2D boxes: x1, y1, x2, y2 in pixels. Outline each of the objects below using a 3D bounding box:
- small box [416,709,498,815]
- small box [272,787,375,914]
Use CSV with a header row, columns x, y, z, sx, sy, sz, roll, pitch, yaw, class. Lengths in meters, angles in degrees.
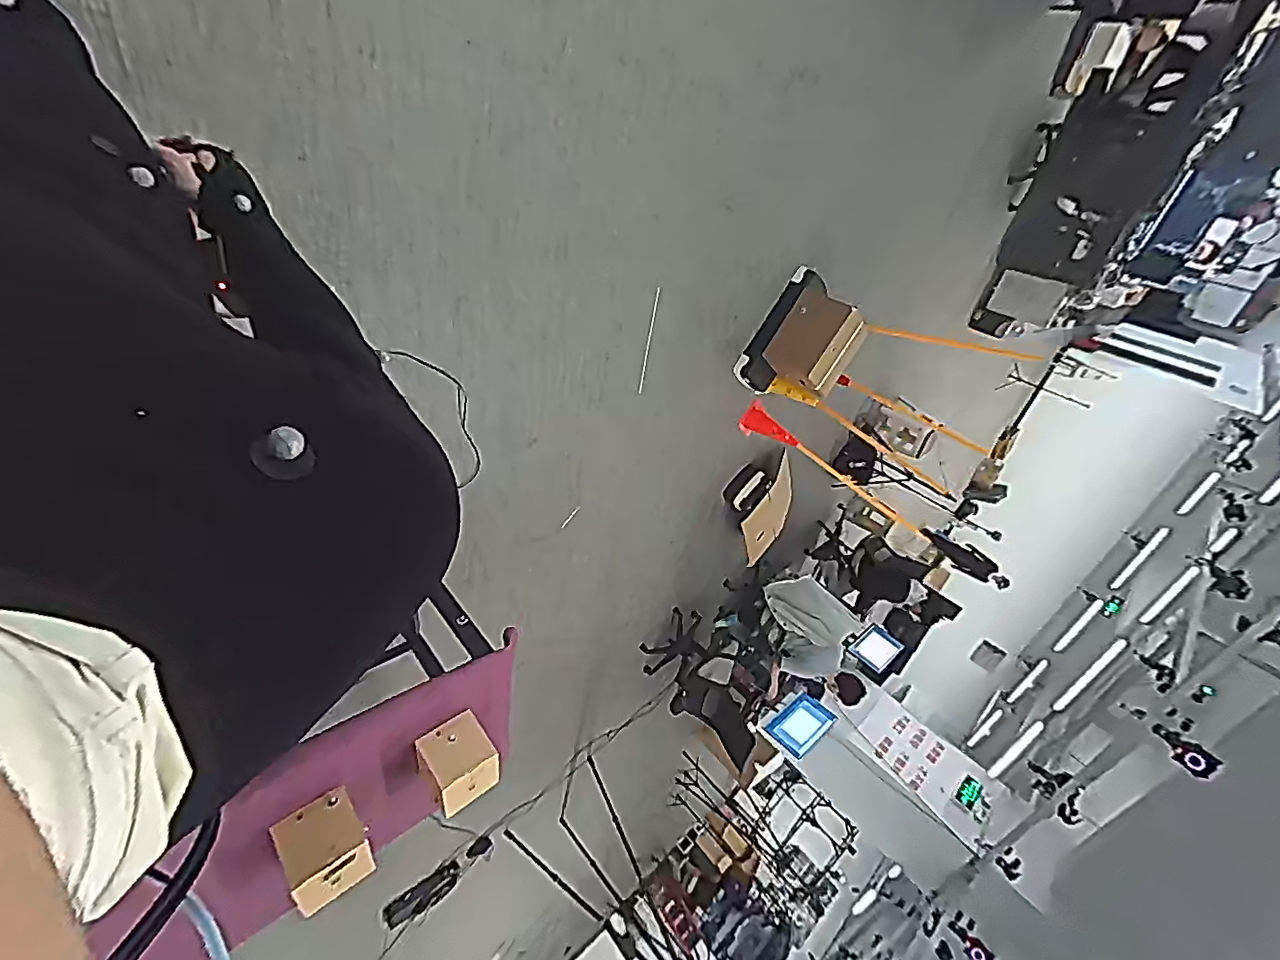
x,y,z,sx,sy,sz,roll,pitch,yaw,class
-0.520,0.796,1.540,0.168,0.176,0.179,-23,136,-37,small box
-0.776,0.898,1.329,0.168,0.176,0.179,-21,136,-38,small box
